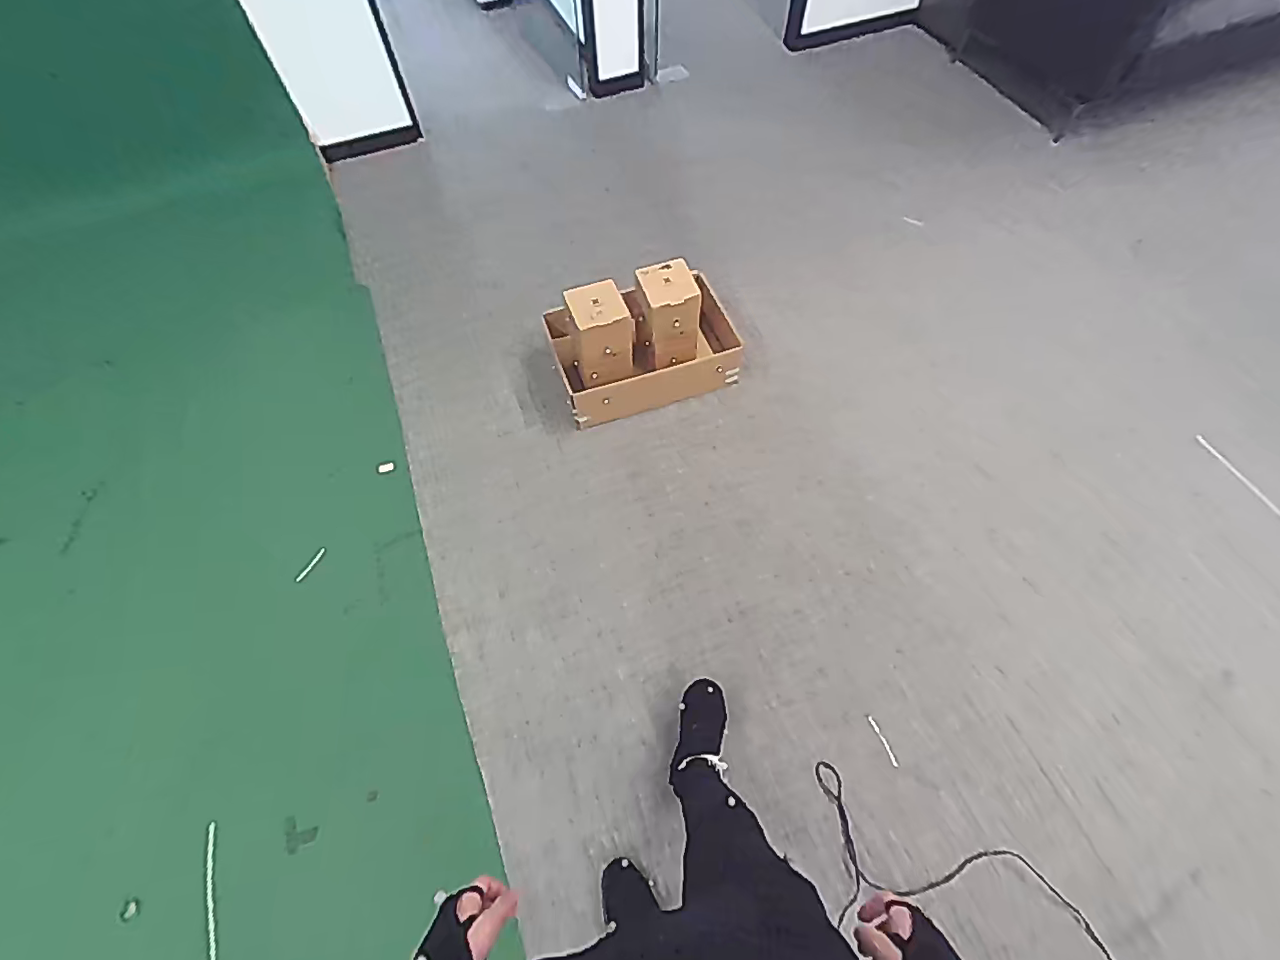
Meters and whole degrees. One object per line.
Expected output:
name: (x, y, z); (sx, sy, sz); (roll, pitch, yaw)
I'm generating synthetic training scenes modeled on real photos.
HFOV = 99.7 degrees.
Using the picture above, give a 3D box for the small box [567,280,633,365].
small box: (-0.125, -0.496, 1.714); (0.168, 0.176, 0.179); (-18, 63, -9)
